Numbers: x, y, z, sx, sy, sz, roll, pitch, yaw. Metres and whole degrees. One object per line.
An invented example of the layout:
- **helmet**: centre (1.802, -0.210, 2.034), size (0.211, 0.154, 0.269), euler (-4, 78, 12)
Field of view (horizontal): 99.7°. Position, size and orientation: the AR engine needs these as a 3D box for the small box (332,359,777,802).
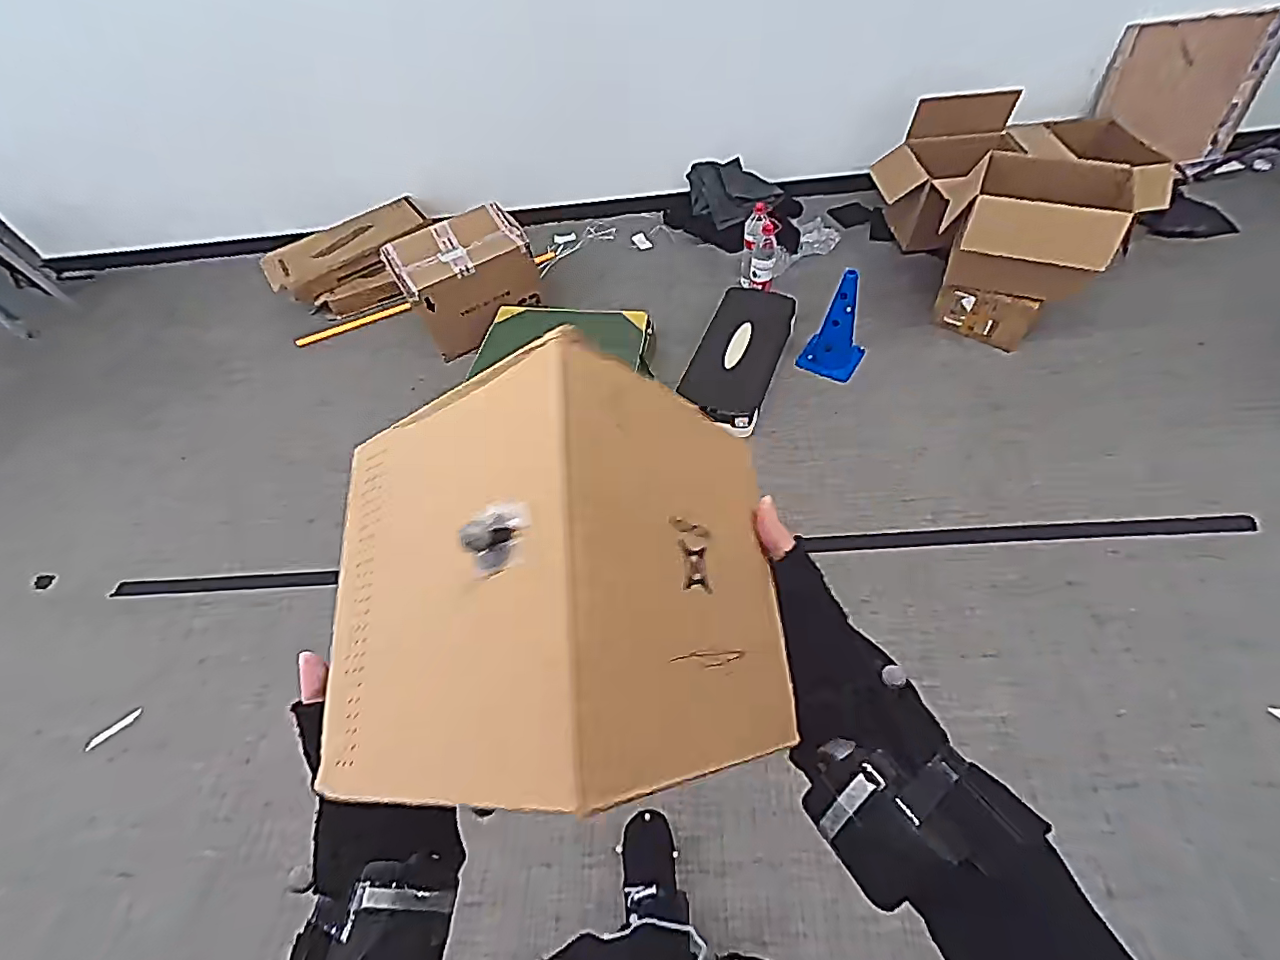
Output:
- **small box**: centre (-0.048, 0.069, 0.306), size (0.176, 0.168, 0.179), euler (-21, 63, 34)
